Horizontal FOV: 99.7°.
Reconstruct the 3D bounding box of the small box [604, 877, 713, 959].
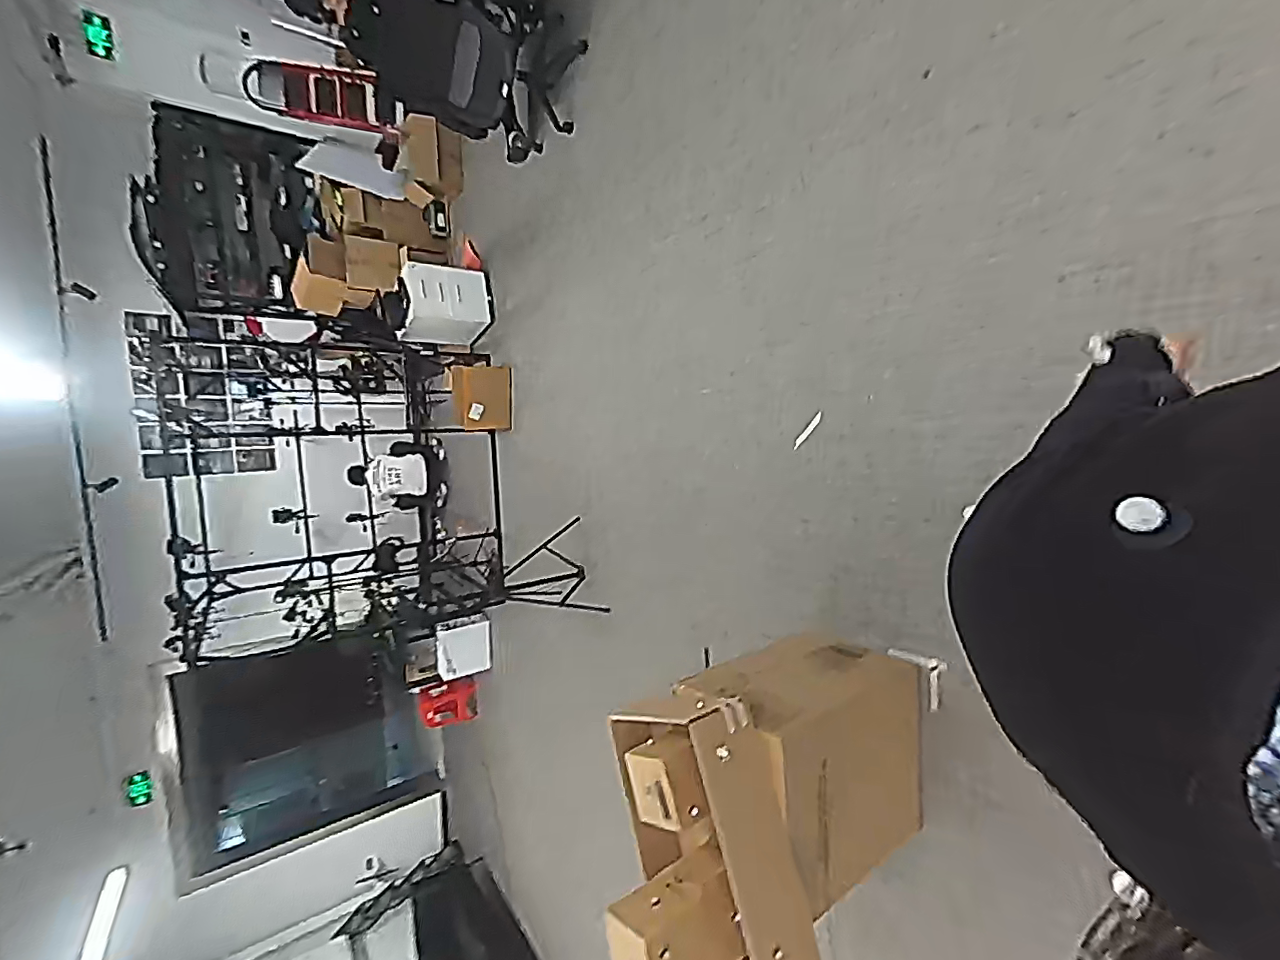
[{"bbox_3d":[0.045,1.033,1.199,0.168,0.176,0.179,-23,76,53],"label":"small box"}]
